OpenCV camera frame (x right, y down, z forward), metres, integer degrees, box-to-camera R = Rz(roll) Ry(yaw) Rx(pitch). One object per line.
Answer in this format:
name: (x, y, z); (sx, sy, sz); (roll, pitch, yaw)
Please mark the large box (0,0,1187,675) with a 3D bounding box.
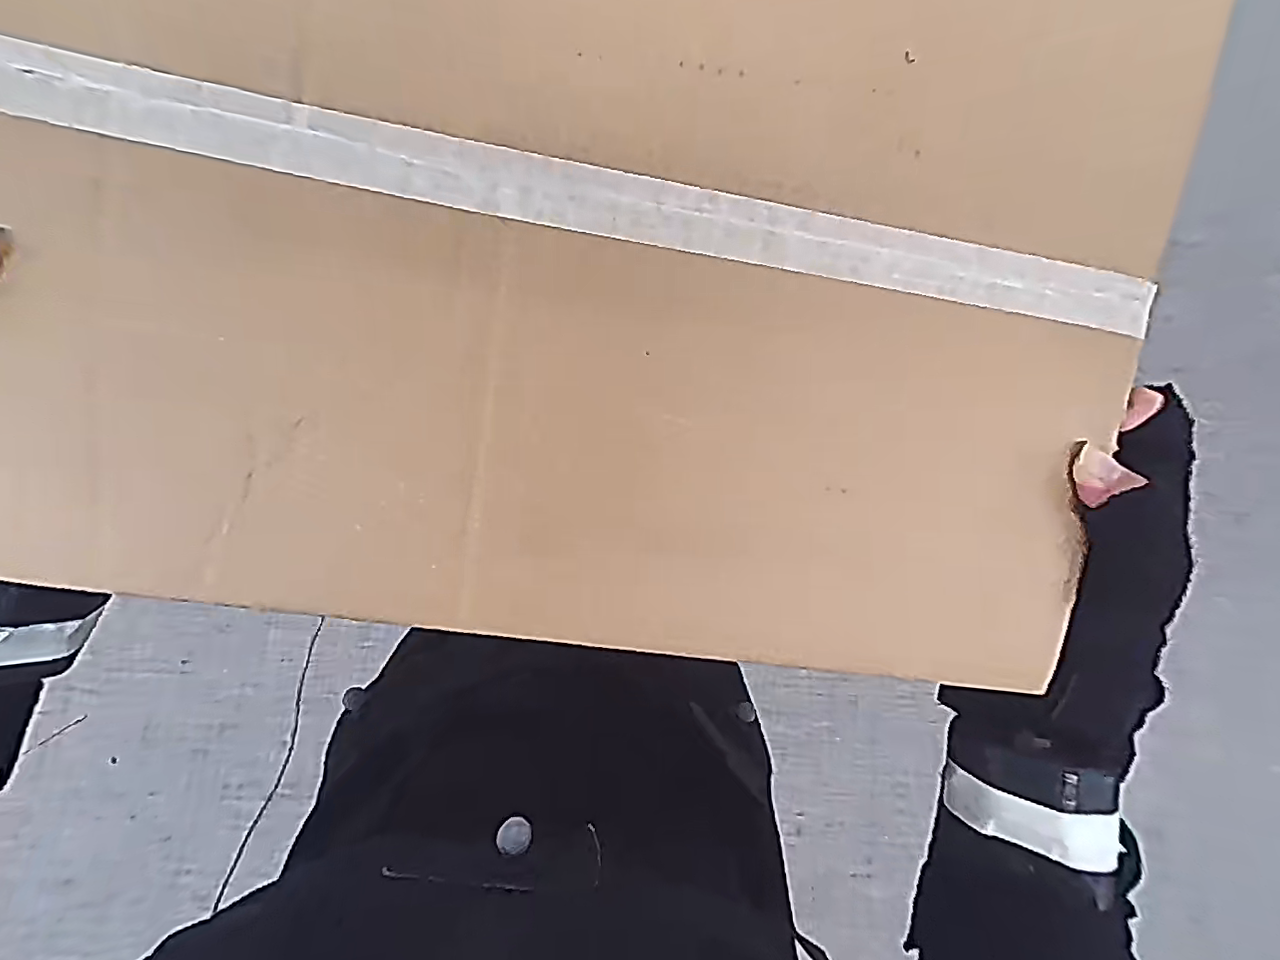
large box: (-0.023, -0.109, 0.342); (0.408, 0.320, 0.320); (8, 97, -7)
